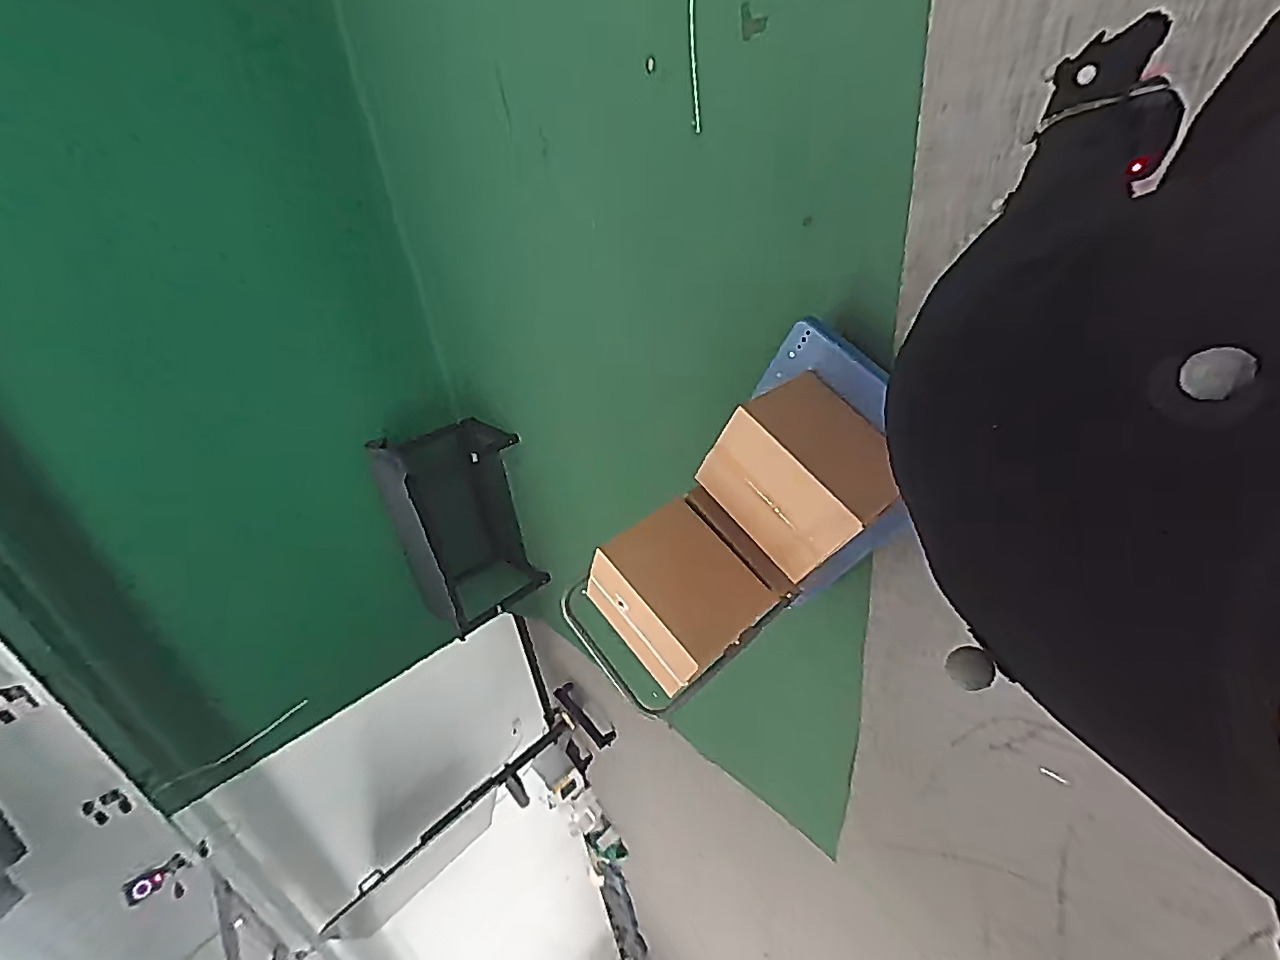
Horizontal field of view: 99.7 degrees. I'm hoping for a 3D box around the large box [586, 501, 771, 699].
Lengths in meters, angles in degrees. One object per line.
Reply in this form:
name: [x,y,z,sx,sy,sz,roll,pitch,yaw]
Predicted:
large box: [0.096,0.341,1.565,0.408,0.320,0.320,48,148,20]
